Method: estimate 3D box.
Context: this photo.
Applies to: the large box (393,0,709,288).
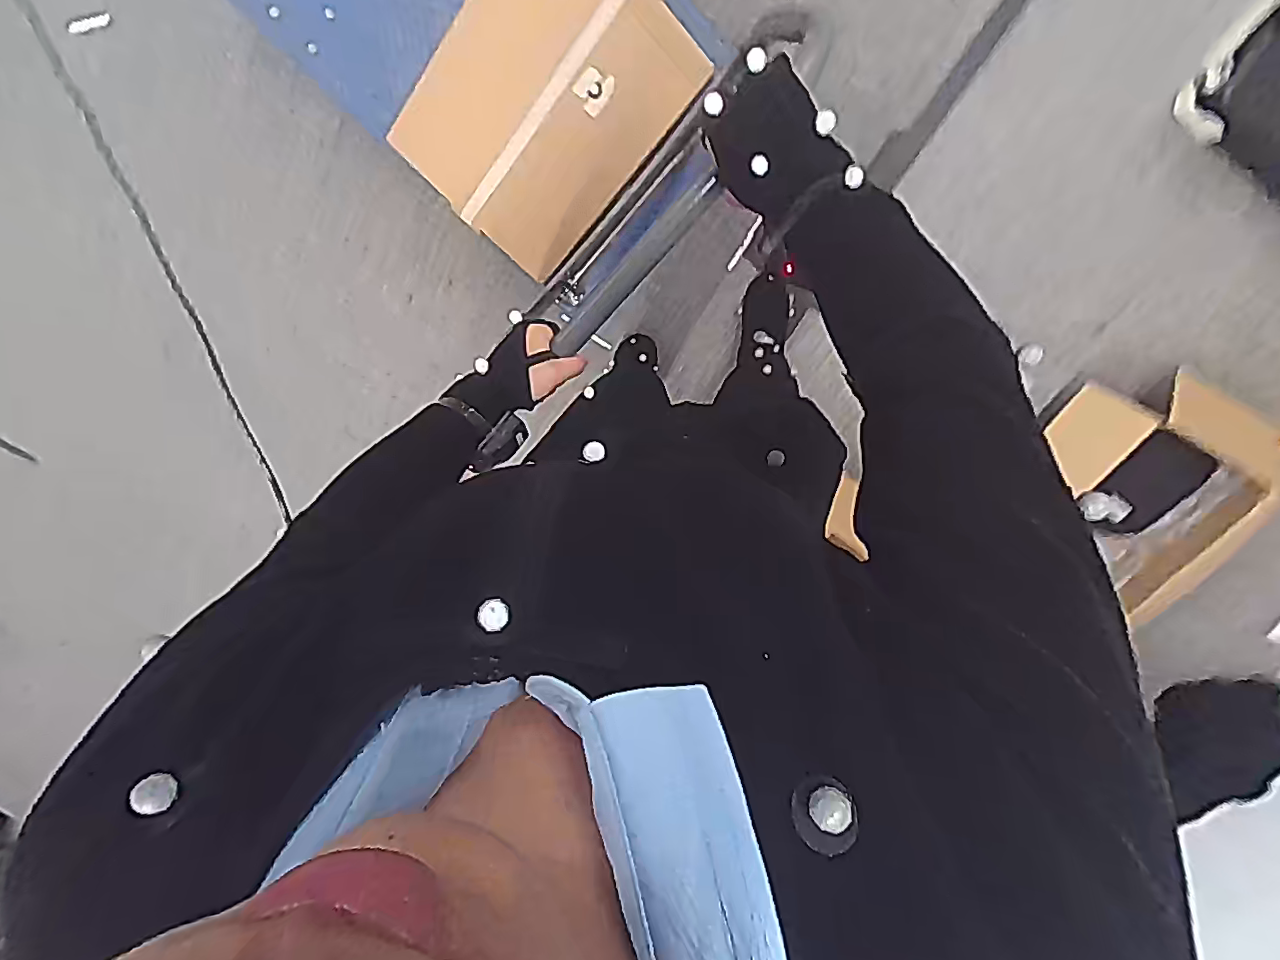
[{"bbox_3d":[-0.132,-0.605,0.931,0.320,0.320,0.408,41,112,-16],"label":"large box"}]
